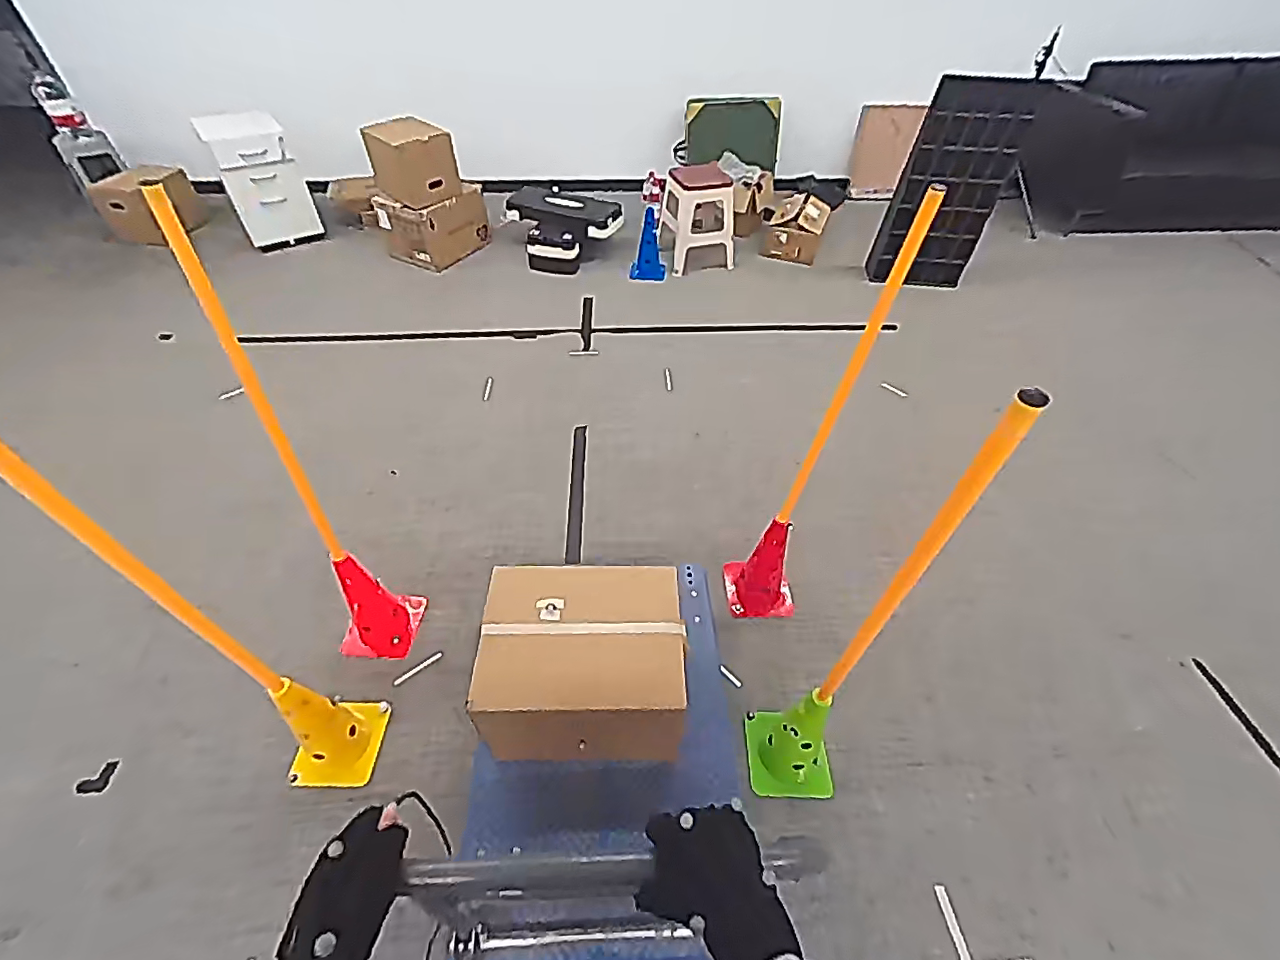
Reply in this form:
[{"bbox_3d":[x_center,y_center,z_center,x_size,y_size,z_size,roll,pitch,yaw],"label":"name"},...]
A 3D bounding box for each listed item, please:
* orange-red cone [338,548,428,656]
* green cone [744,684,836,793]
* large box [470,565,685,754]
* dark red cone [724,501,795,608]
[{"bbox_3d":[-0.747,0.305,1.485,0.198,0.360,0.199,5,46,2],"label":"orange-red cone"},{"bbox_3d":[0.379,0.570,1.256,0.202,0.368,0.200,2,47,0],"label":"green cone"},{"bbox_3d":[-0.118,0.403,1.205,0.408,0.320,0.320,0,47,0],"label":"large box"},{"bbox_3d":[0.379,0.203,1.575,0.201,0.394,0.202,0,47,-4],"label":"dark red cone"}]
